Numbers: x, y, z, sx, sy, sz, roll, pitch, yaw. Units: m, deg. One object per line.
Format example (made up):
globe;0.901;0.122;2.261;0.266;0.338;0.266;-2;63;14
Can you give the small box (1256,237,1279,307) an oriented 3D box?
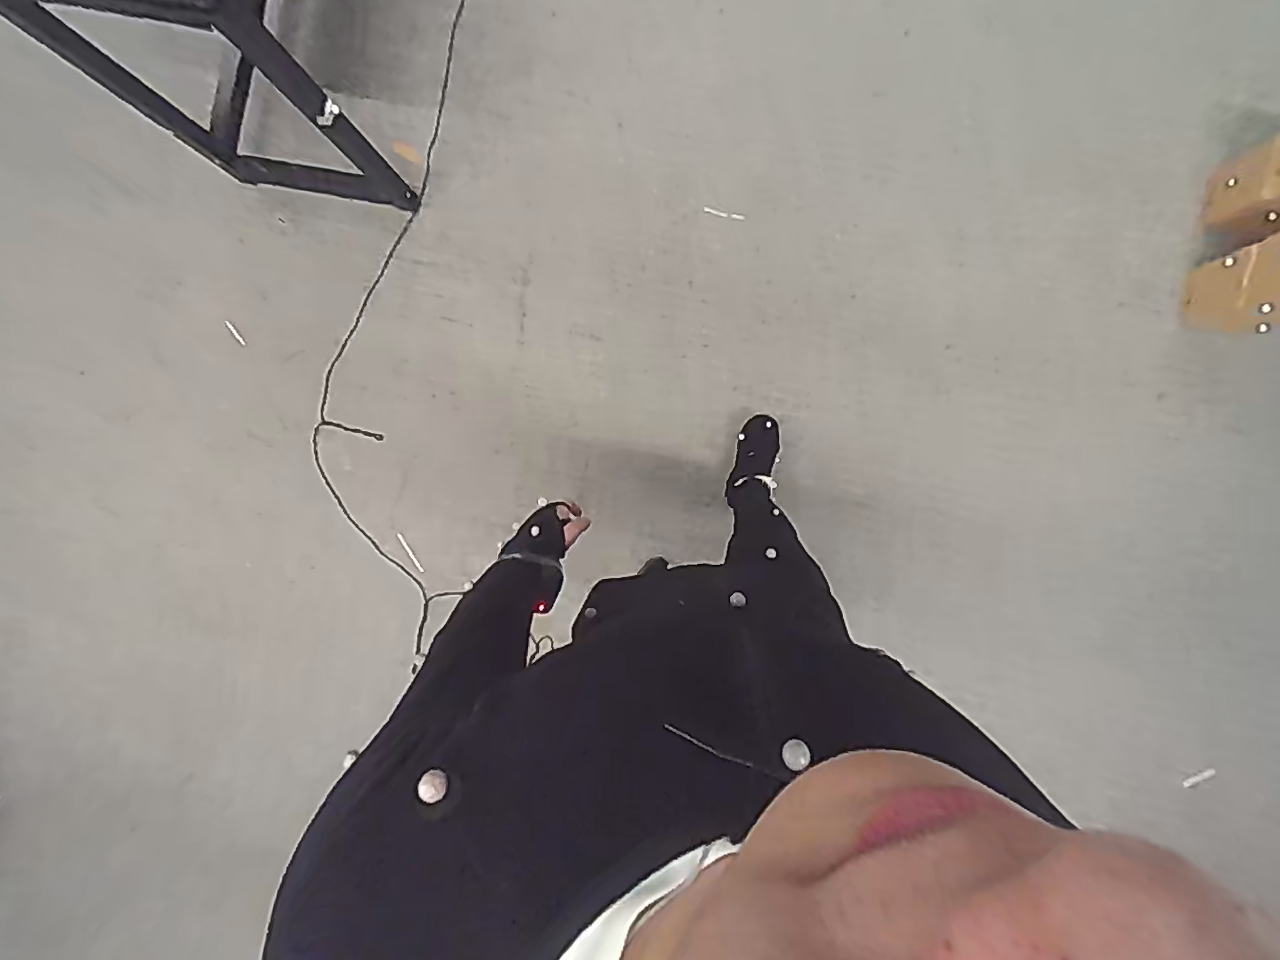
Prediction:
small box;1.643;-0.505;1.279;0.168;0.176;0.179;16;90;2

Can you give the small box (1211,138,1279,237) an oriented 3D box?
small box;1.701;-0.773;1.439;0.179;0.176;0.168;15;91;4

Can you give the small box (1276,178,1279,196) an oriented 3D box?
small box;1.691;-0.771;1.277;0.179;0.176;0.168;13;91;3
